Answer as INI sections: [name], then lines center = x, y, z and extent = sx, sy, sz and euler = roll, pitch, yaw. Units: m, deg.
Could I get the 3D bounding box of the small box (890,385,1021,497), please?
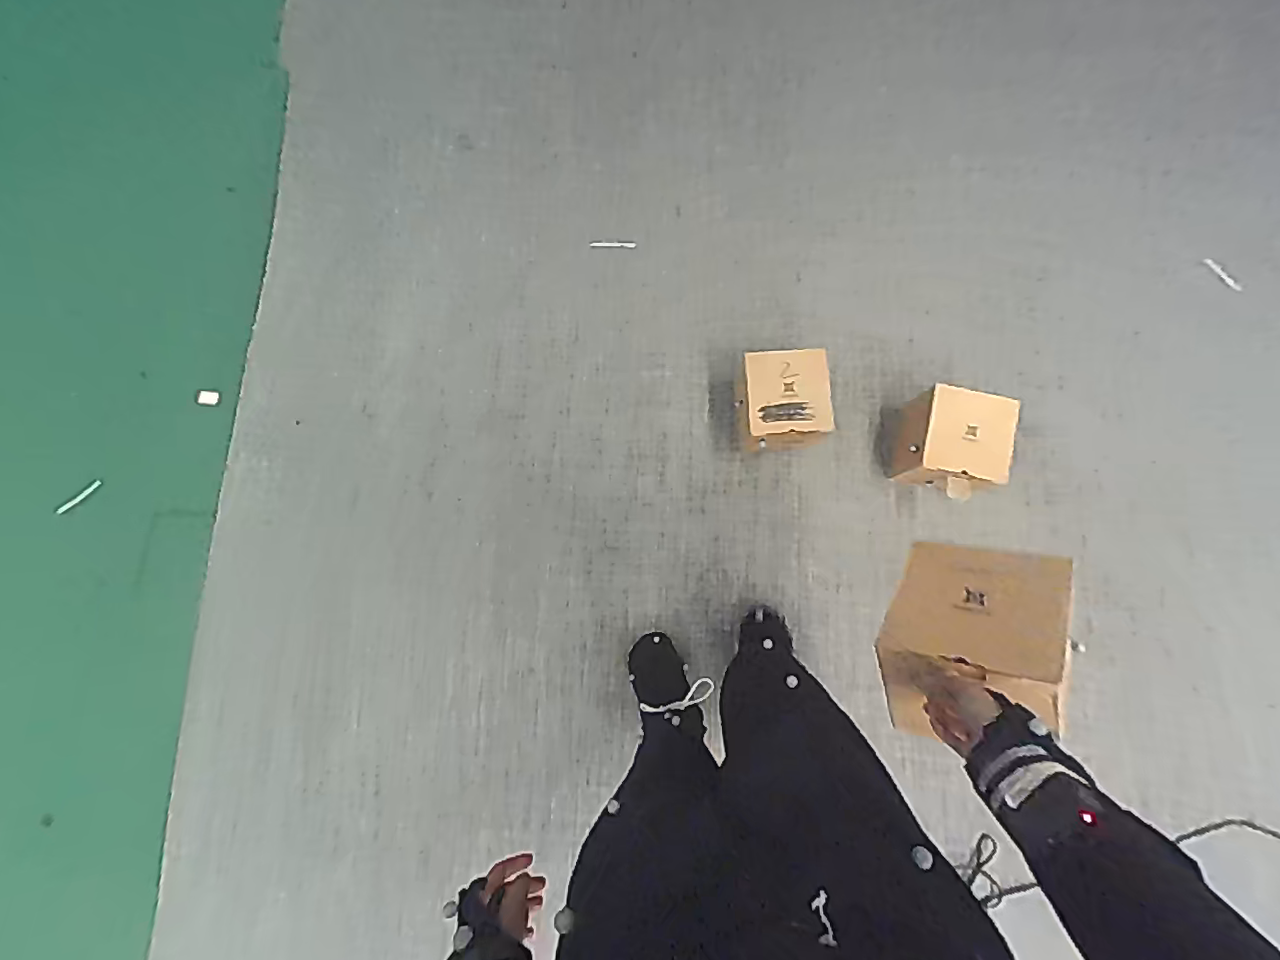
[small box]
center = 0.645, -0.073, 1.124
extent = 0.168, 0.176, 0.179
euler = 13, 82, 4
